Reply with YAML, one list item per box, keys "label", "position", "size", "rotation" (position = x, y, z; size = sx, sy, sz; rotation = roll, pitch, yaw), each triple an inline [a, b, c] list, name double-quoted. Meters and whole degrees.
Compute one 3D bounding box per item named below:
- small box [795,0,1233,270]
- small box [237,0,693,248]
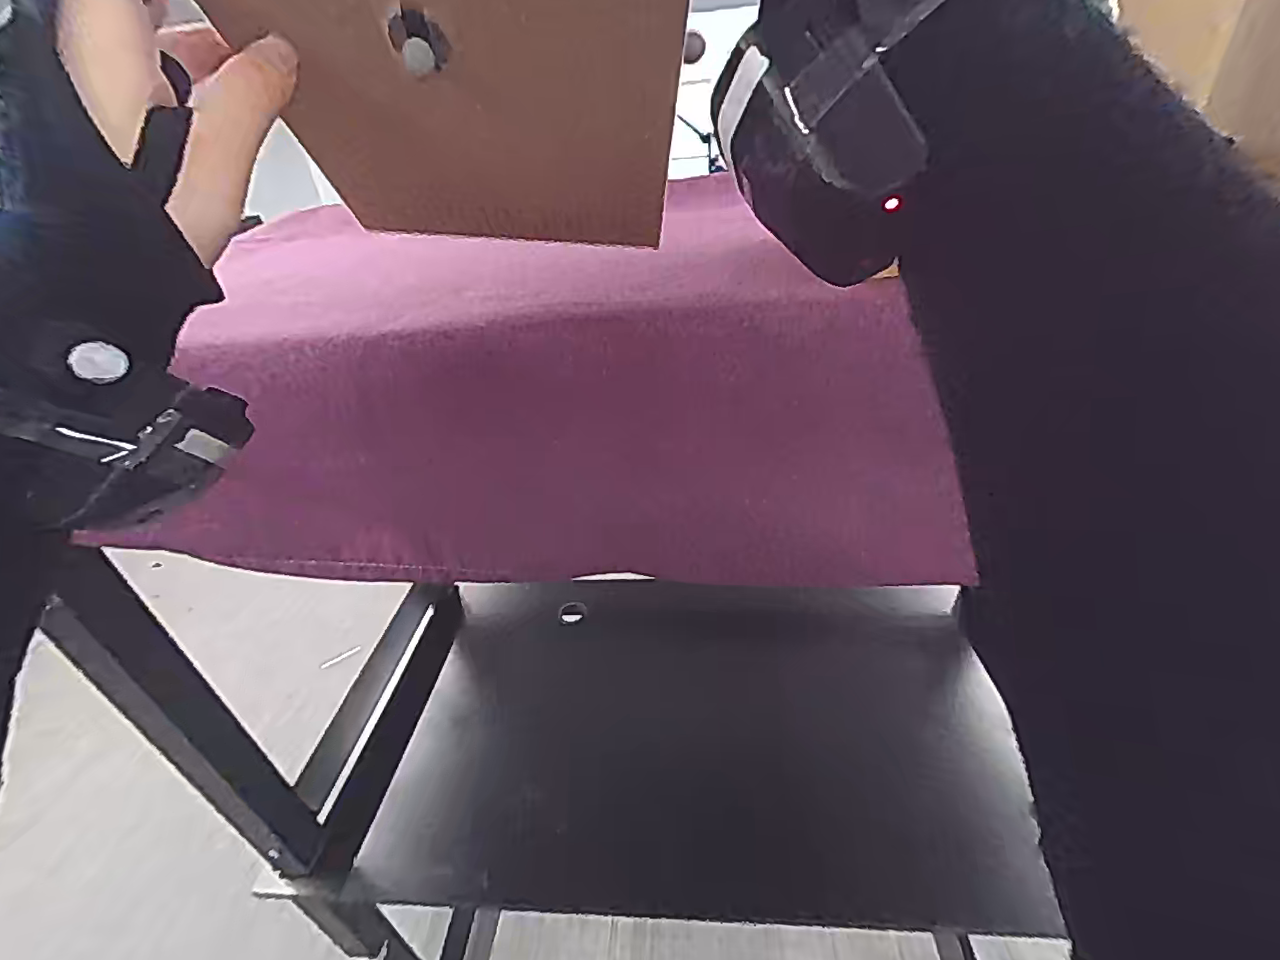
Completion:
- label: "small box"
  position: [0.192, -0.226, 0.322]
  size: [0.168, 0.176, 0.179]
  rotation: [-1, 31, 6]
- label: "small box"
  position: [-0.064, -0.232, 0.251]
  size: [0.179, 0.168, 0.176]
  rotation: [3, -12, -1]
